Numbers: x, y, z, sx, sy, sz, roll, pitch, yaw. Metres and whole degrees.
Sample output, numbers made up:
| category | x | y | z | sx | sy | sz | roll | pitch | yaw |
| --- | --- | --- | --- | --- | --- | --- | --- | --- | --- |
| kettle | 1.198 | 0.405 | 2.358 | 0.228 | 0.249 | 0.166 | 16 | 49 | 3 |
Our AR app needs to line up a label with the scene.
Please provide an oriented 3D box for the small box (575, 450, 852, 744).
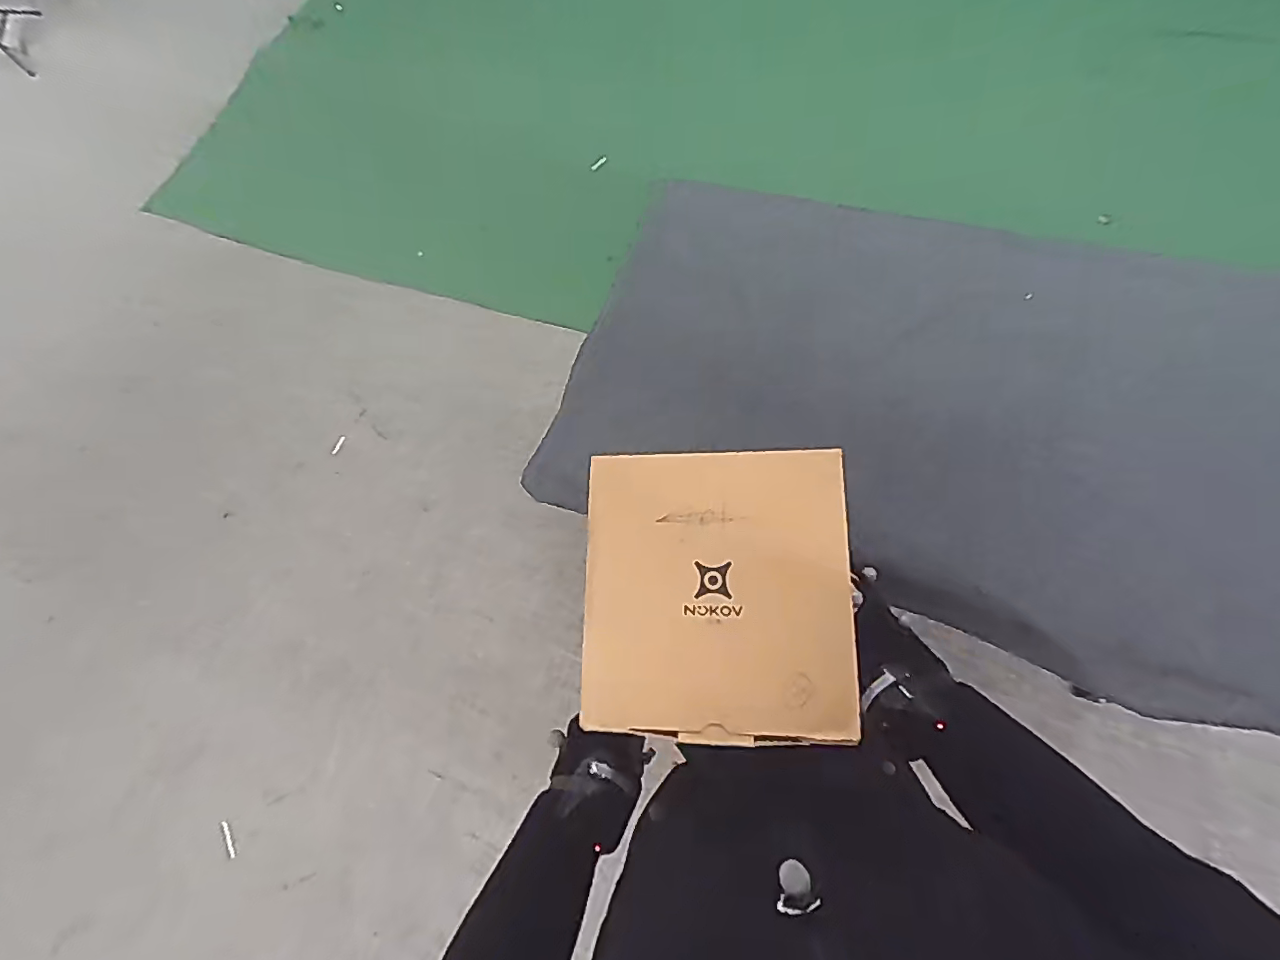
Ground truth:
| category | x | y | z | sx | sy | sz | roll | pitch | yaw |
| --- | --- | --- | --- | --- | --- | --- | --- | --- | --- |
| small box | 0.055 | 0.084 | 0.412 | 0.168 | 0.176 | 0.179 | -1 | 75 | 8 |
